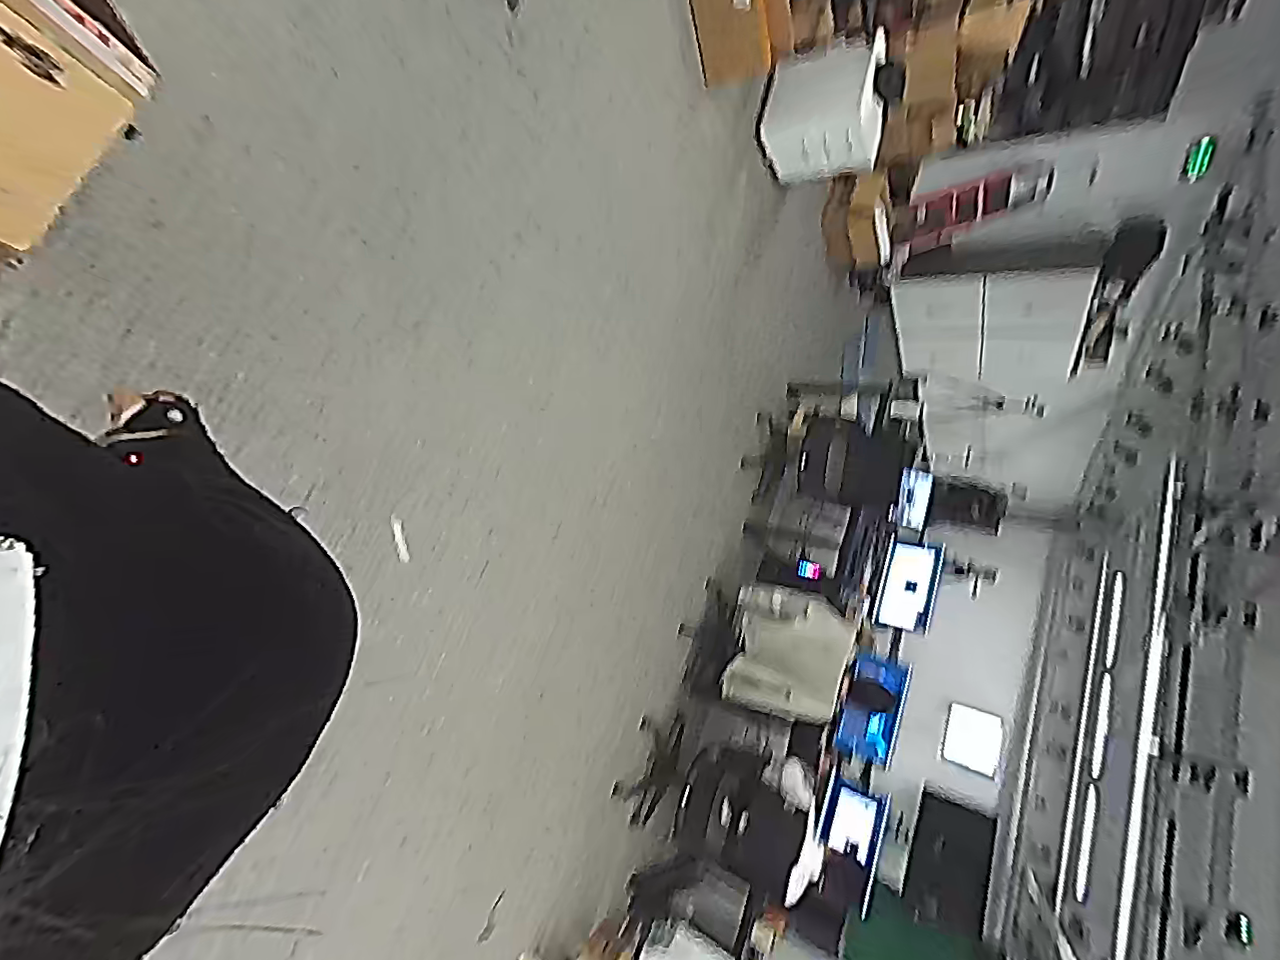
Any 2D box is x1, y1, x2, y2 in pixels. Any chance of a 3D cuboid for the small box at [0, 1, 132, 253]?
[{"bbox_3d":[-0.606,-0.320,0.469,0.168,0.176,0.179,40,68,-52],"label":"small box"}]
